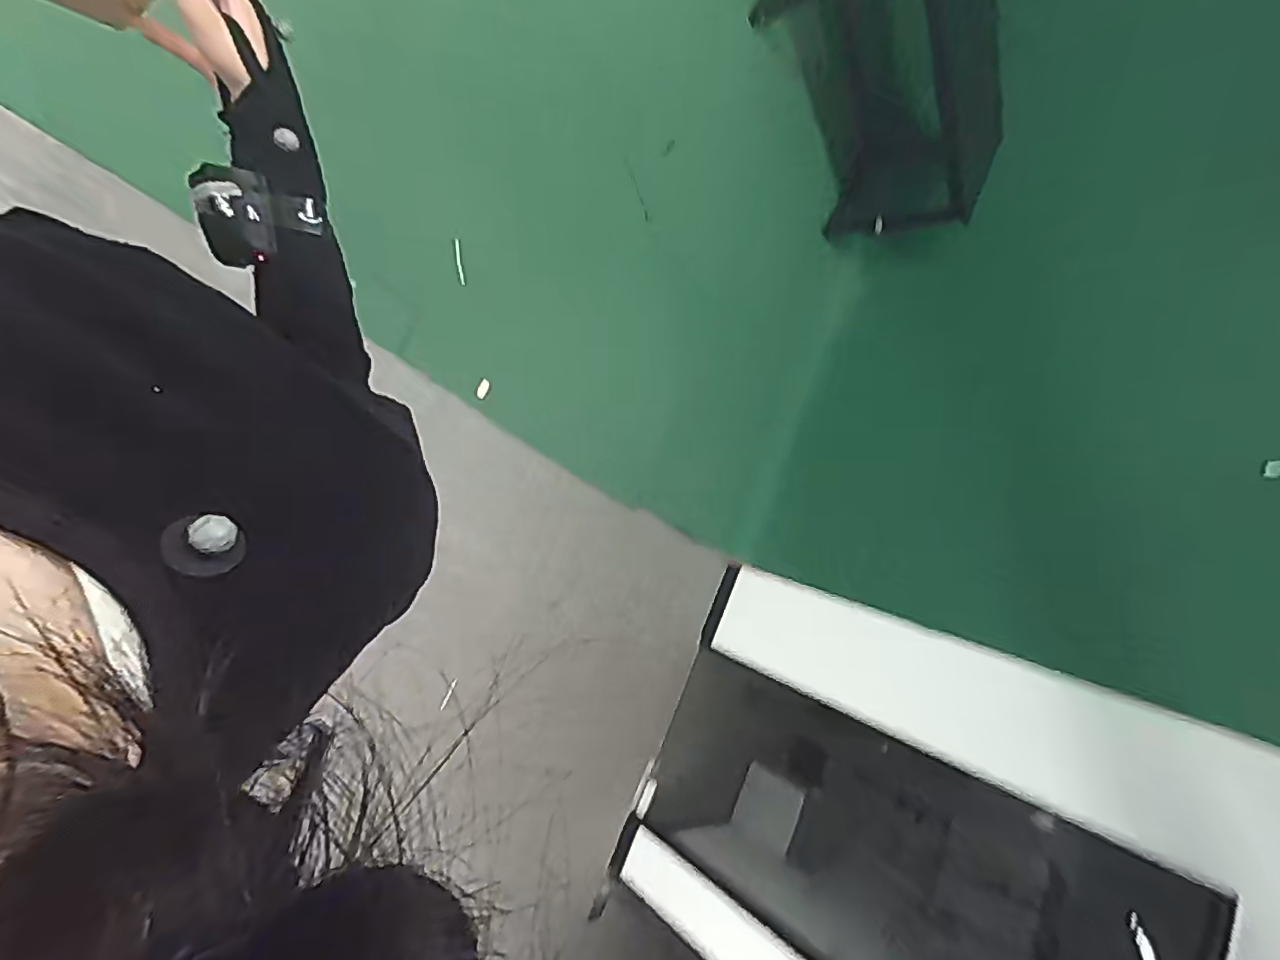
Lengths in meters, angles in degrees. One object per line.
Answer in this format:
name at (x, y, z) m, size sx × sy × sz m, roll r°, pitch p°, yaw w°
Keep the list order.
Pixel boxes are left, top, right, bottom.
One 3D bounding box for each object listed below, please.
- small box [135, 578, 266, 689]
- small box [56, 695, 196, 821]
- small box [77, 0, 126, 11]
small box at (-0.964, 0.331, 1.181) m, size 0.168 × 0.176 × 0.179 m, roll 29°, pitch 81°, yaw -46°
small box at (-1.078, 0.567, 1.133) m, size 0.168 × 0.176 × 0.179 m, roll 25°, pitch 83°, yaw -47°
small box at (-0.408, -0.429, 0.318) m, size 0.168 × 0.176 × 0.179 m, roll -5°, pitch 113°, yaw -48°
